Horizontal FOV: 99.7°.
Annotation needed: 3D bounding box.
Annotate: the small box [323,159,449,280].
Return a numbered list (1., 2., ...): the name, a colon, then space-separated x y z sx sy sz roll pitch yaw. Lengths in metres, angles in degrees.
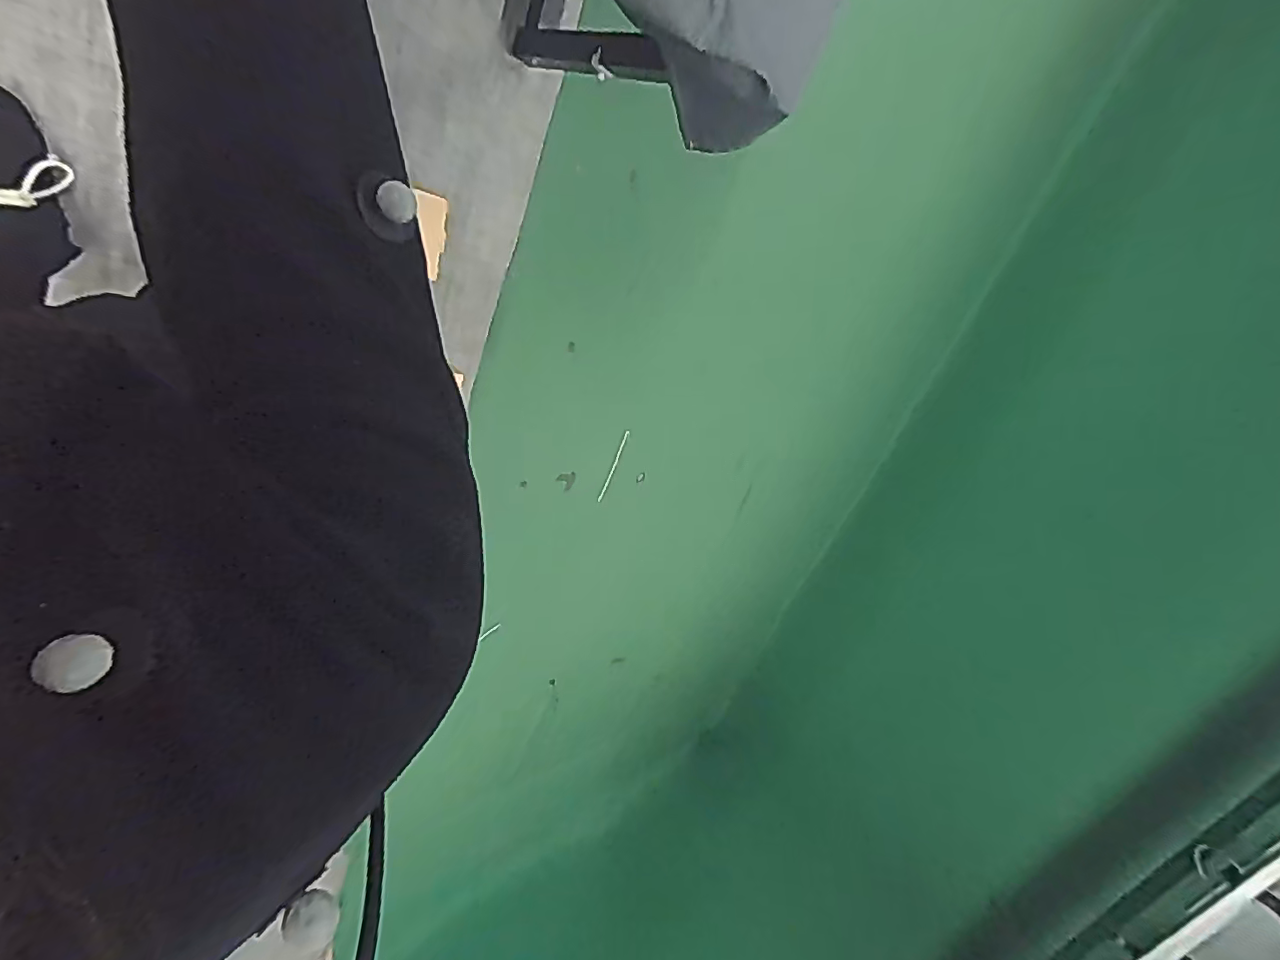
1. small box: -0.515 -0.526 1.093 0.179 0.176 0.168 -5 124 -43
